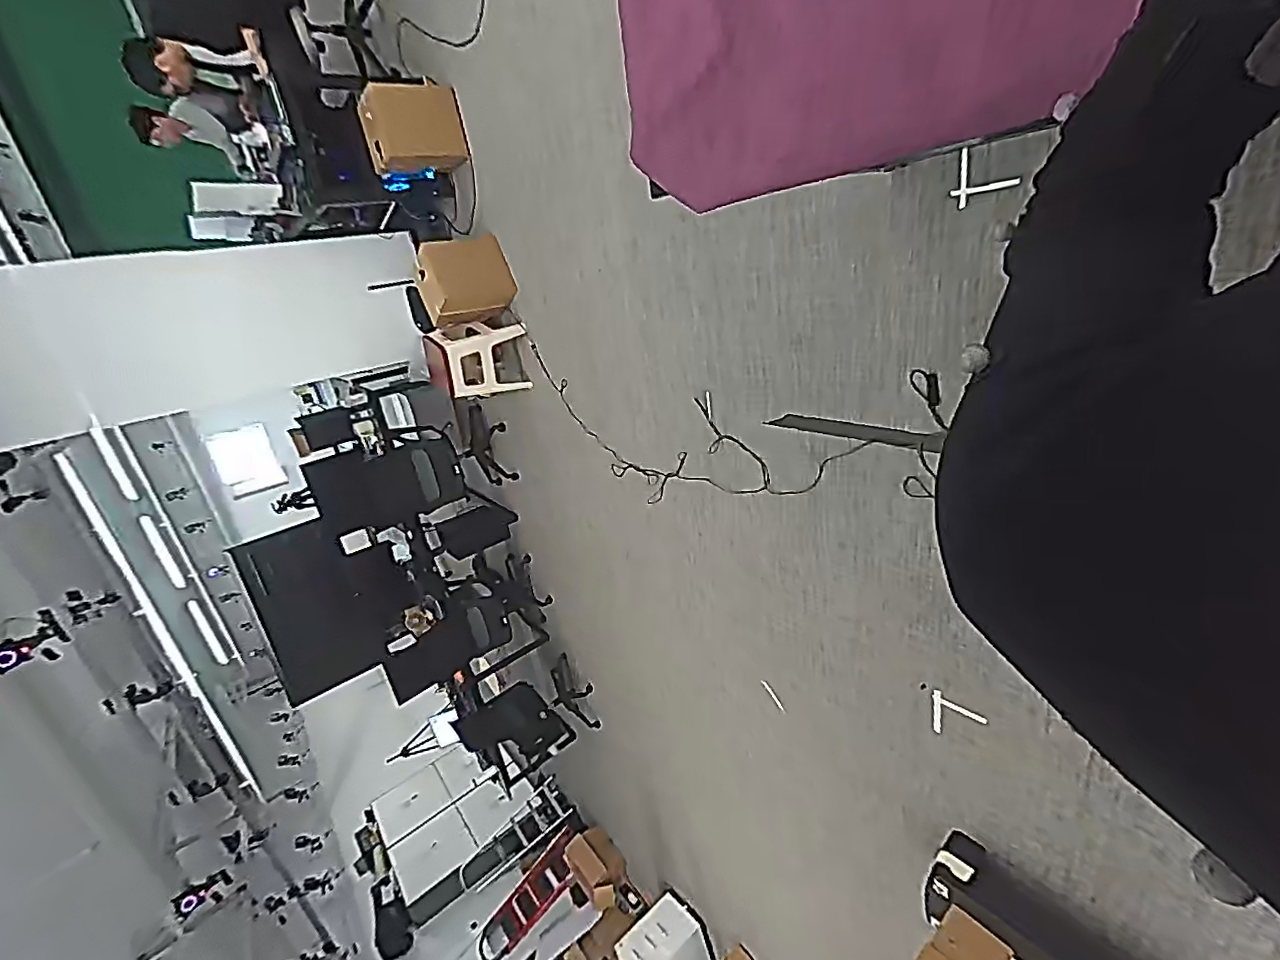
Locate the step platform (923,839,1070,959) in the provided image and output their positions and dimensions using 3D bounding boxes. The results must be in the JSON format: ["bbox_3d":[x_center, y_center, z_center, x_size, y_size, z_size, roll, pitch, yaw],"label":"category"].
[{"bbox_3d":[1.226,1.456,1.622,0.684,0.204,0.286,18,125,49],"label":"step platform"}]
